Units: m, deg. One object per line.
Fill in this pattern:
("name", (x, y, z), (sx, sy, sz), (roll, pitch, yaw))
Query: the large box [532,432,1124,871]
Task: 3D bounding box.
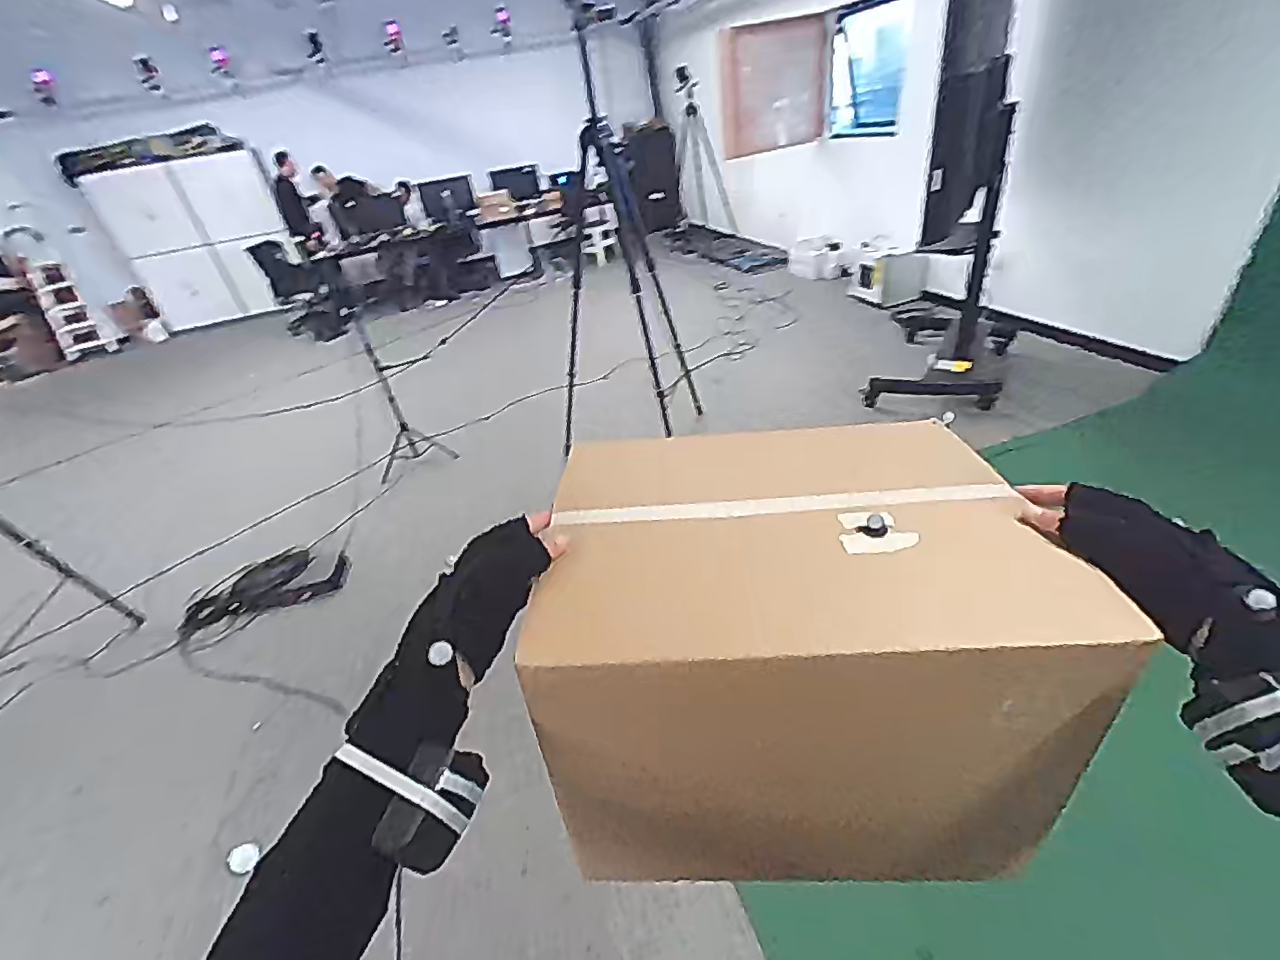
("large box", (0.134, 0.161, 0.563), (0.408, 0.320, 0.320), (-3, 31, 4))
